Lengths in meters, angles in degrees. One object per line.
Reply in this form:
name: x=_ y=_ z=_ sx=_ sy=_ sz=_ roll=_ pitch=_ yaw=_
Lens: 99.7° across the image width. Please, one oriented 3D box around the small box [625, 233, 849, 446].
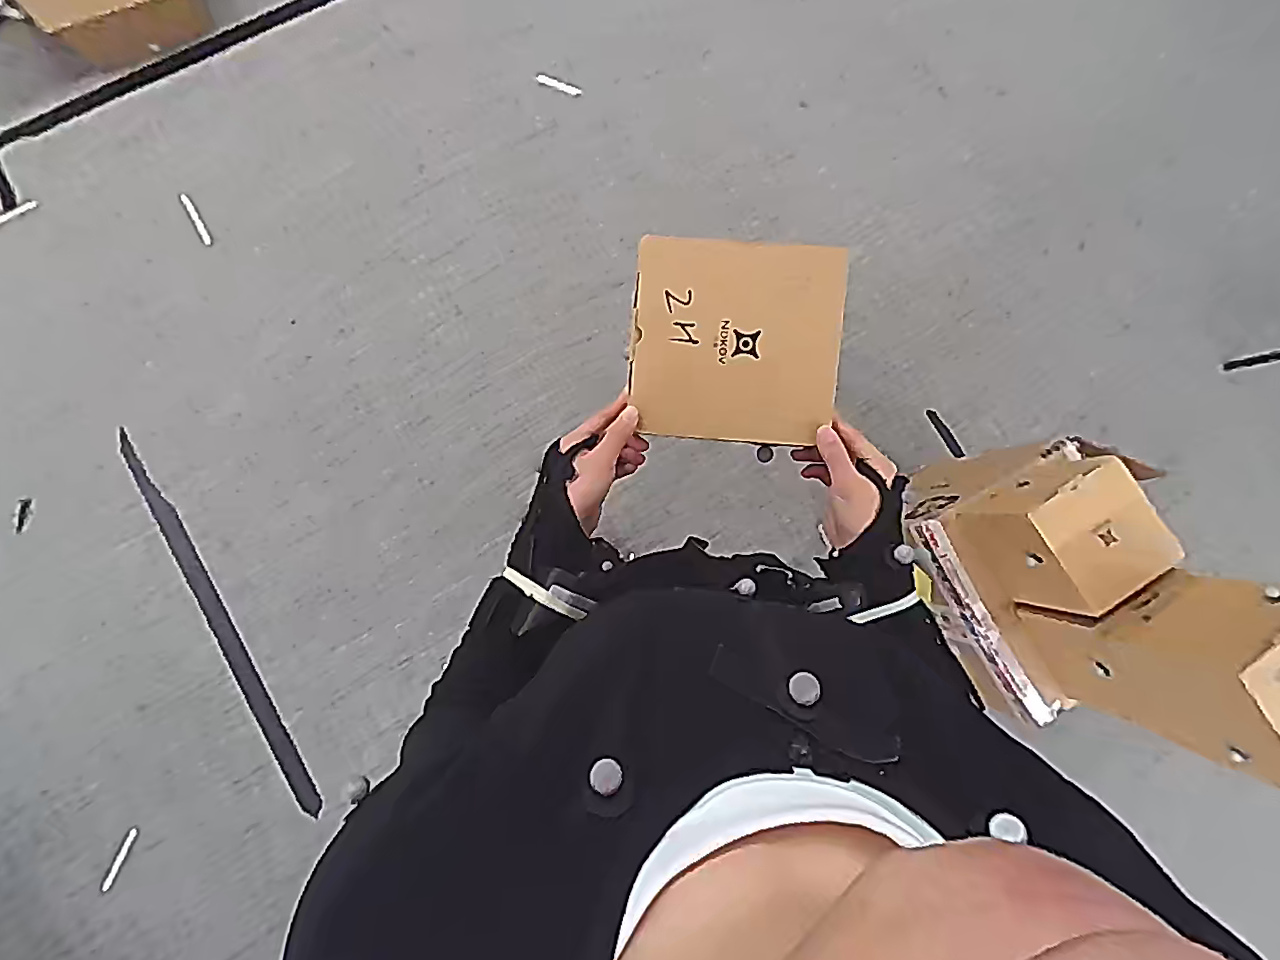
small box: x=0.083 y=-0.124 z=0.533 sx=0.179 sy=0.176 sz=0.168 roll=5 pitch=94 yaw=2
